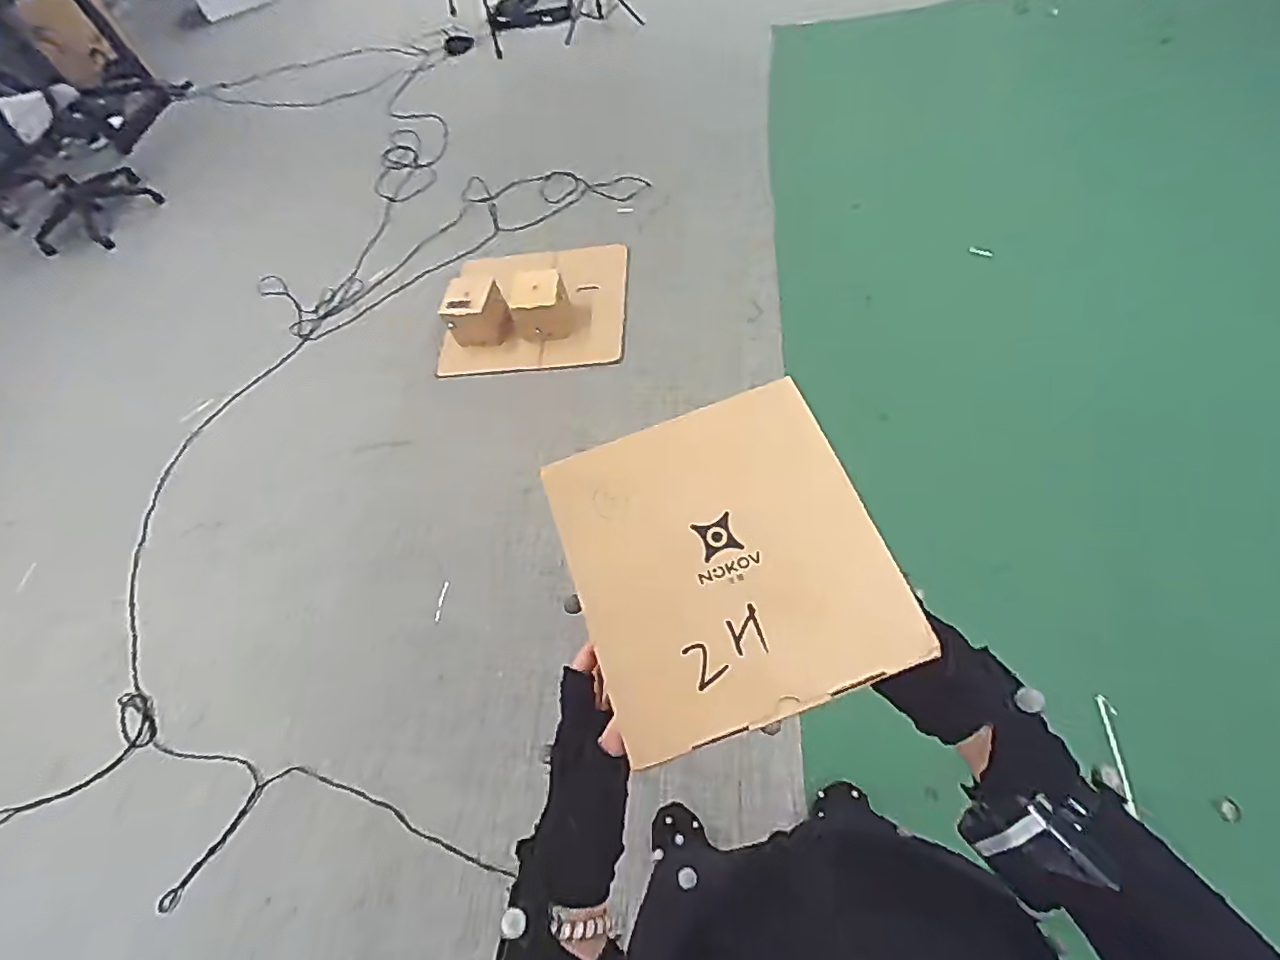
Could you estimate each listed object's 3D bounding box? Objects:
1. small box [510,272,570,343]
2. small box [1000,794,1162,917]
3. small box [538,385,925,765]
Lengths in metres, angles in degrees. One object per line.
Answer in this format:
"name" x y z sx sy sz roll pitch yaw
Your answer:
"small box" -0.354 -0.621 1.956 0.168 0.176 0.179 -3 62 7
"small box" 0.826 0.709 1.041 0.179 0.176 0.168 2 62 10
"small box" 0.047 0.071 0.372 0.168 0.176 0.179 -20 68 -2
